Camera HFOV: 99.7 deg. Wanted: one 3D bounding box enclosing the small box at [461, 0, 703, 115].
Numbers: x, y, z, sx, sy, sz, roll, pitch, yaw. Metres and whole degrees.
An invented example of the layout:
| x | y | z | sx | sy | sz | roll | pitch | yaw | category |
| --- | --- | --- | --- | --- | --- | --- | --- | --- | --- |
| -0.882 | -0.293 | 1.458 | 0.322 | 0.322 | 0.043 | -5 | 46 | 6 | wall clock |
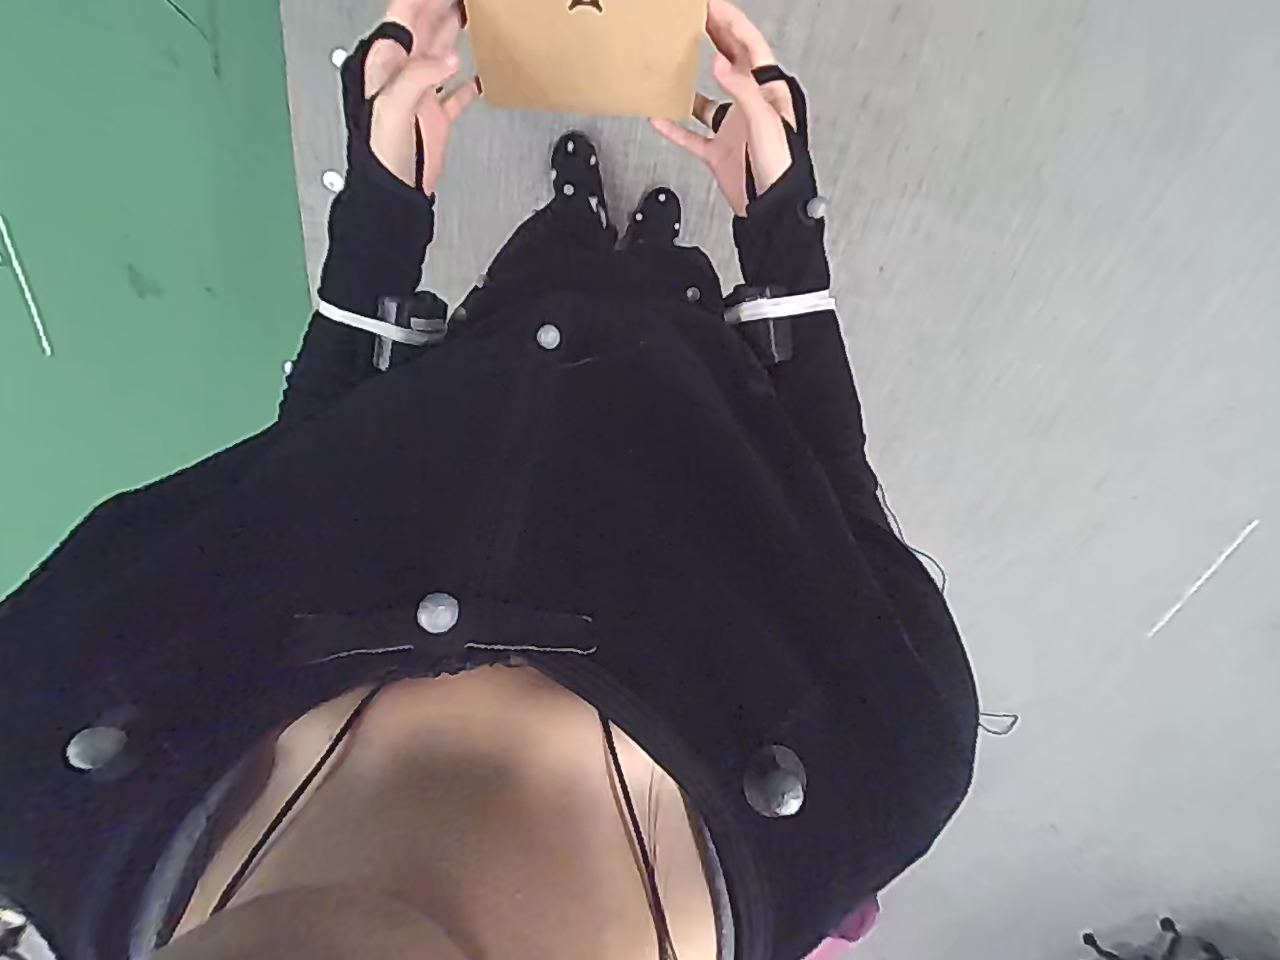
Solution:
| x | y | z | sx | sy | sz | roll | pitch | yaw | category |
| --- | --- | --- | --- | --- | --- | --- | --- | --- | --- |
| -0.035 | -0.400 | 0.375 | 0.168 | 0.176 | 0.179 | 3 | 158 | -2 | small box |
